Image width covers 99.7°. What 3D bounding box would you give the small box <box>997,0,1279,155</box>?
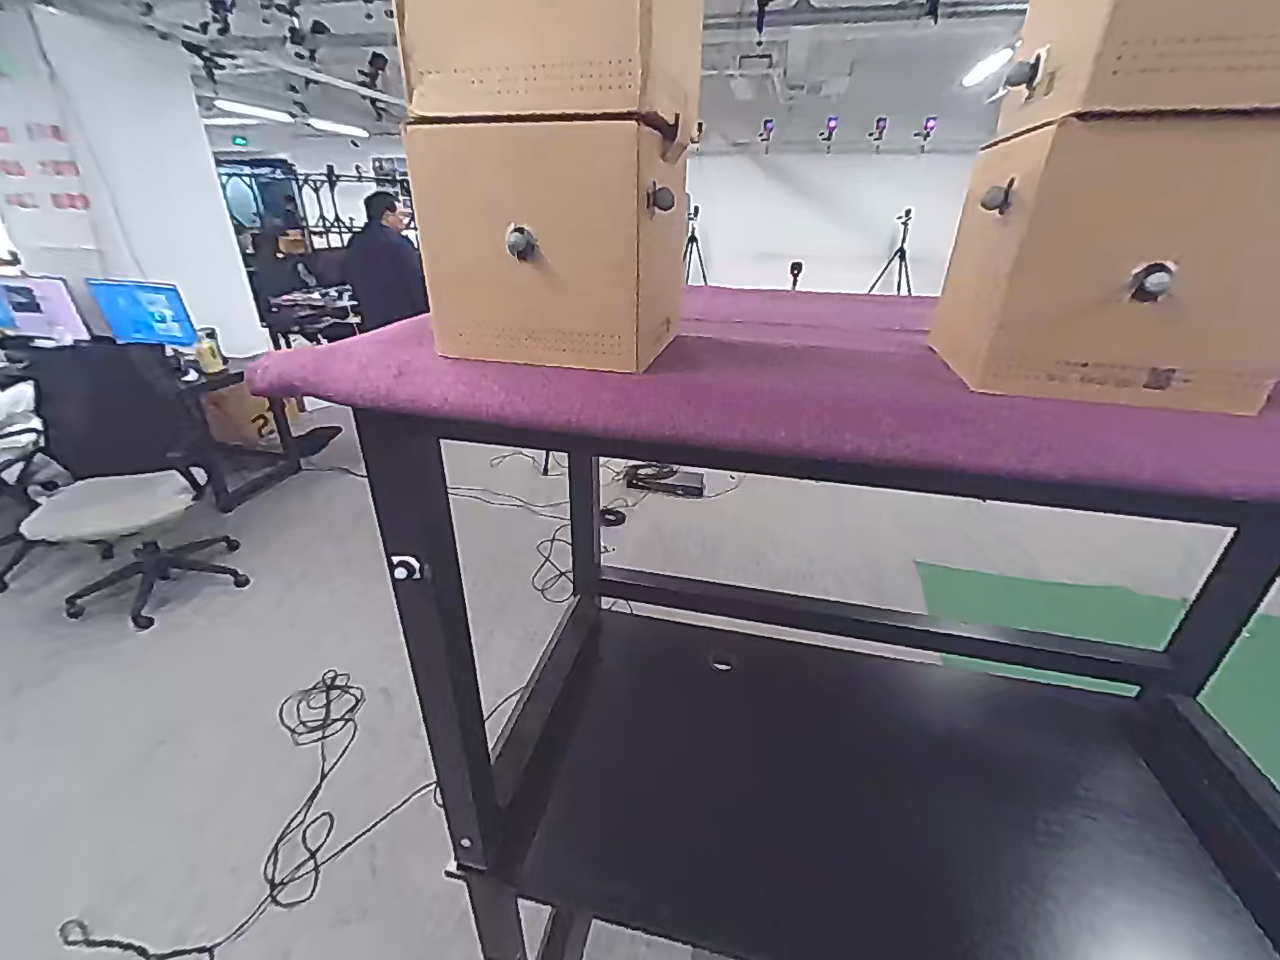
[{"bbox_3d":[0.353,-0.290,0.322,0.179,0.176,0.168,7,26,14],"label":"small box"}]

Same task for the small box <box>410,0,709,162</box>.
[{"bbox_3d":[-0.050,-0.335,0.390,0.179,0.176,0.168,7,28,13],"label":"small box"}]

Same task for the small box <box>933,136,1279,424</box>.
[{"bbox_3d":[0.342,-0.150,0.406,0.168,0.176,0.179,9,27,13],"label":"small box"}]
